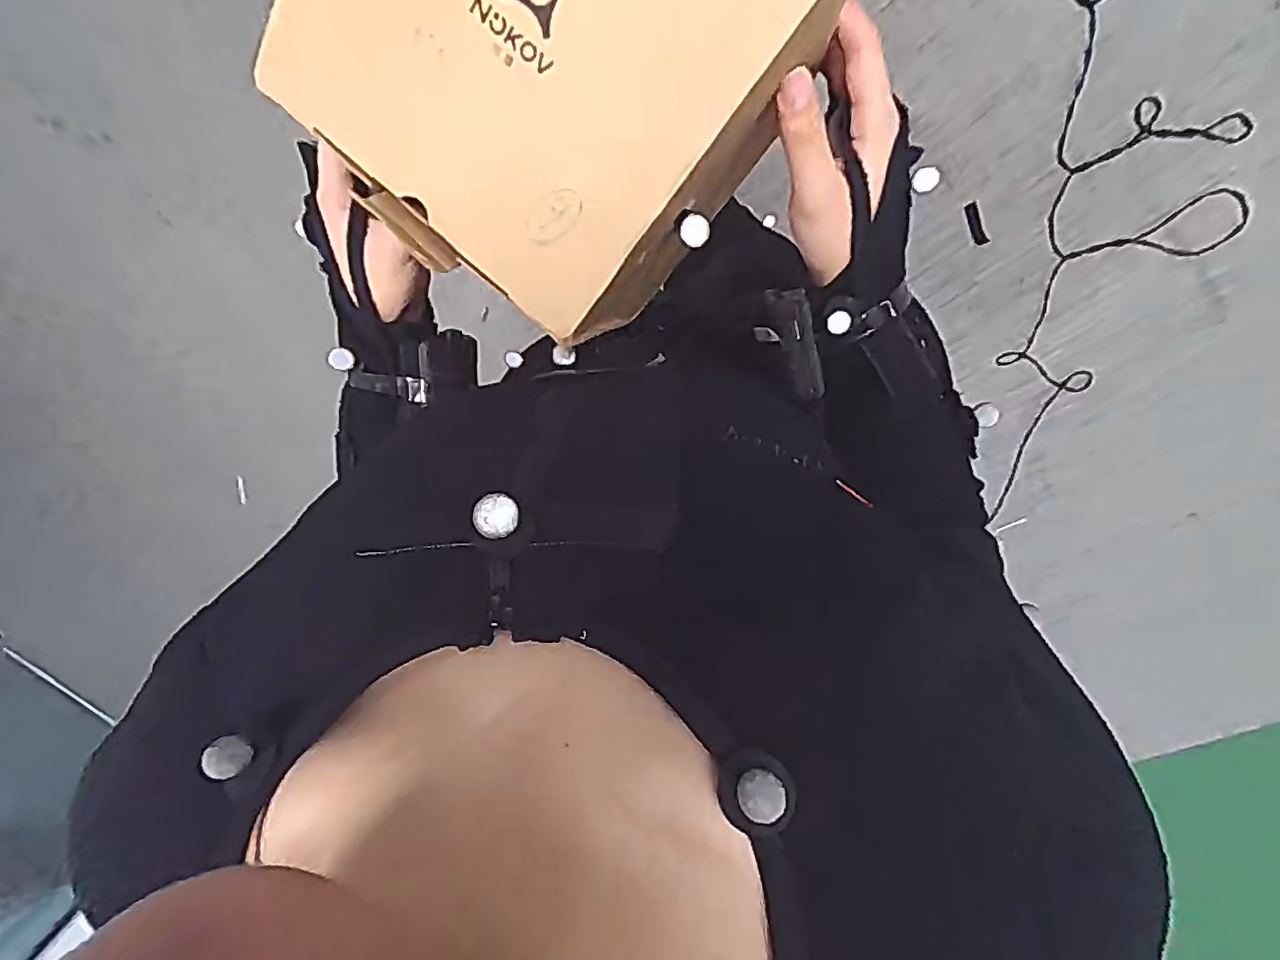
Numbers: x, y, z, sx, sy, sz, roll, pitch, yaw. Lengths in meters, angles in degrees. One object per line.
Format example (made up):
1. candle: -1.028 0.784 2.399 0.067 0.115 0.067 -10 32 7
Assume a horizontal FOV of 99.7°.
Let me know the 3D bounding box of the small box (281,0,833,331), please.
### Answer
1. small box: -0.023 -0.203 0.276 0.168 0.176 0.179 40 112 -6
